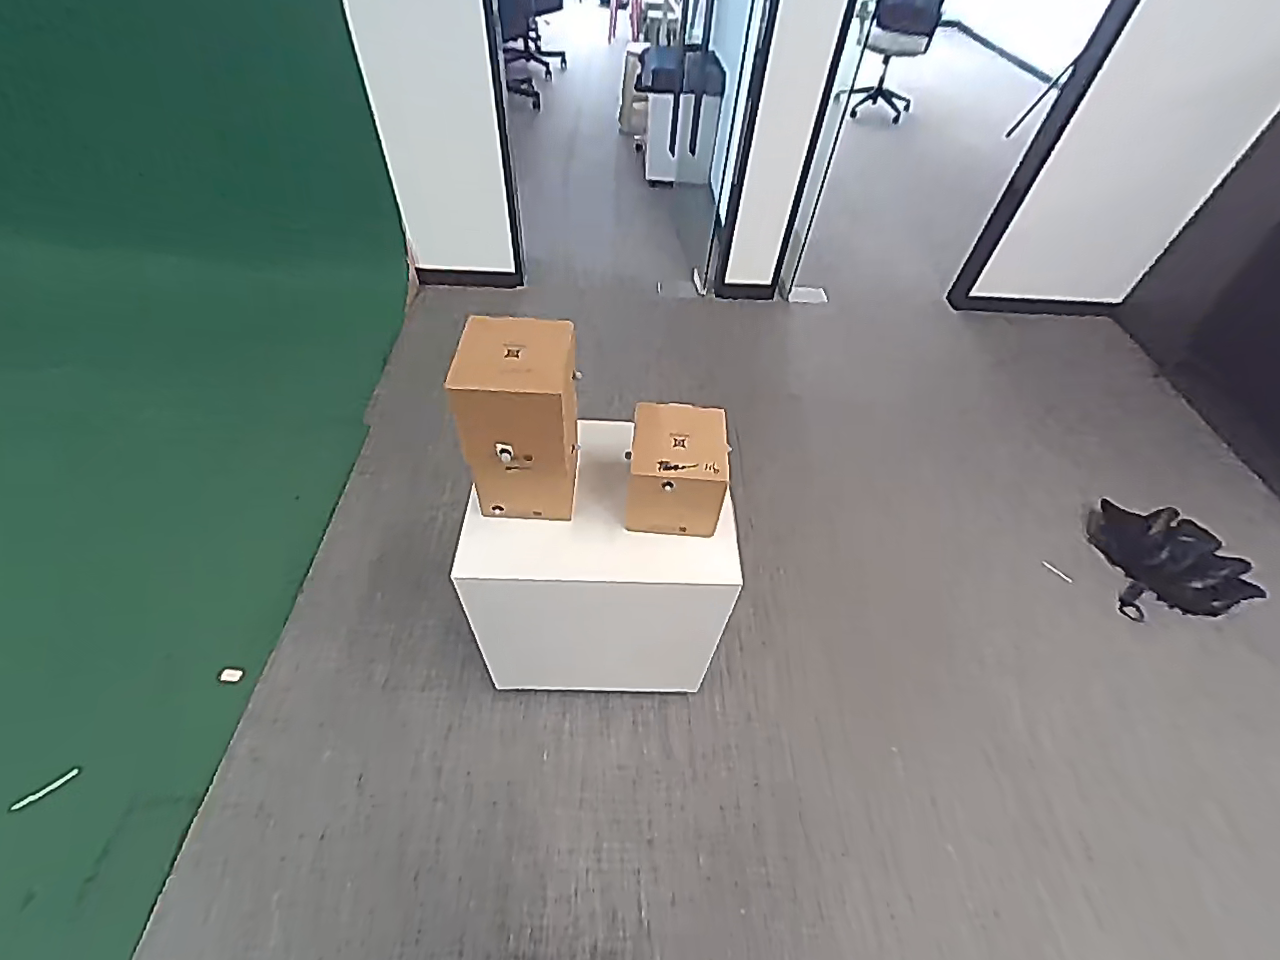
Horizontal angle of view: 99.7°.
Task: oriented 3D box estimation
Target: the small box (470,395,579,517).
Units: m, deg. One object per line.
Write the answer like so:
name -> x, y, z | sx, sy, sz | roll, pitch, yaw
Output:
small box -> -0.203, -0.047, 1.007 | 0.168, 0.176, 0.179 | 3, 50, -3

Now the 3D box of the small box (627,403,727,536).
small box -> 0.064, -0.019, 1.004 | 0.168, 0.176, 0.179 | 4, 50, 0

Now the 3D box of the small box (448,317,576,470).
small box -> -0.193, -0.138, 0.873 | 0.168, 0.176, 0.179 | 2, 52, -2
